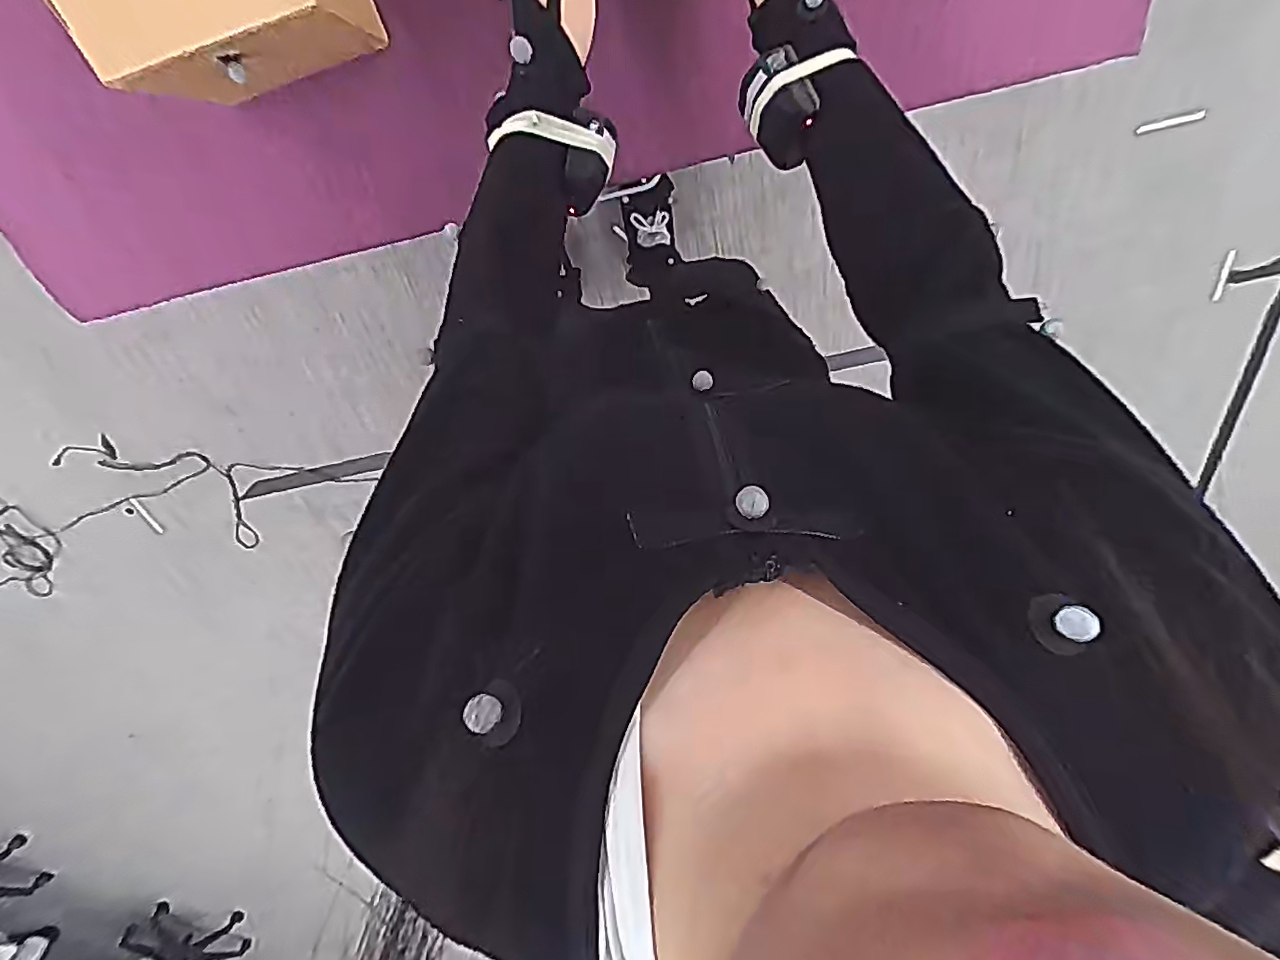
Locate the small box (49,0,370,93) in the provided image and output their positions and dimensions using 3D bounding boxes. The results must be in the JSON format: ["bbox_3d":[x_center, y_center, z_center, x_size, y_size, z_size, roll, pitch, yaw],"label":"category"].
[{"bbox_3d":[-0.337,-0.421,0.412,0.179,0.176,0.168,-16,122,5],"label":"small box"}]
